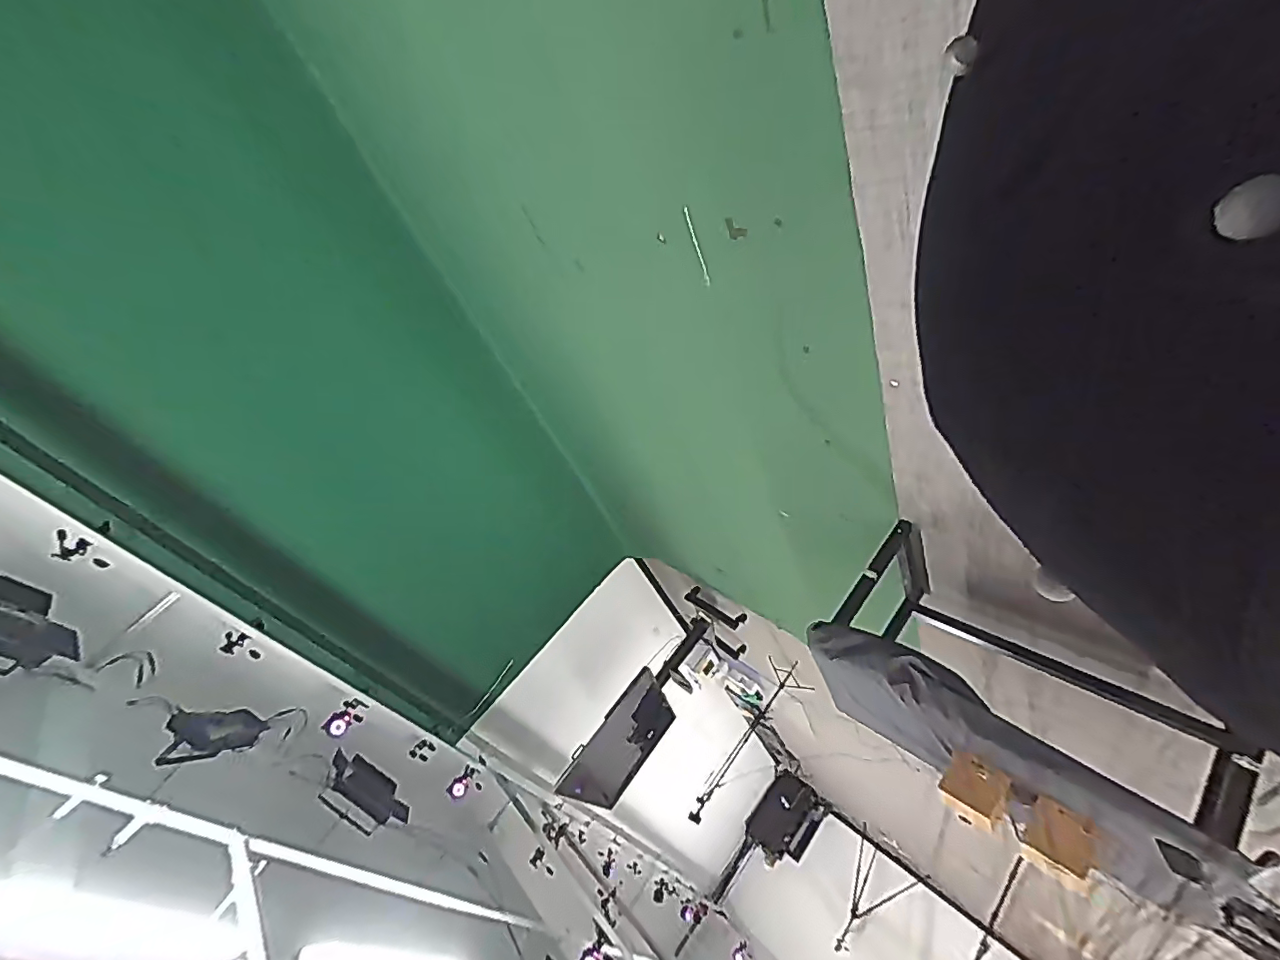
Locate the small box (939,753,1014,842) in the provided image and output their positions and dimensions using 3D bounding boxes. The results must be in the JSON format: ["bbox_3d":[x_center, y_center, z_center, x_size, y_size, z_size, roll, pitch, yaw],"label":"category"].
[{"bbox_3d":[1.146,1.073,1.835,0.168,0.176,0.179,18,147,47],"label":"small box"}]

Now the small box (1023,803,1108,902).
[{"bbox_3d":[1.302,1.133,1.655,0.168,0.176,0.179,20,151,47],"label":"small box"}]
